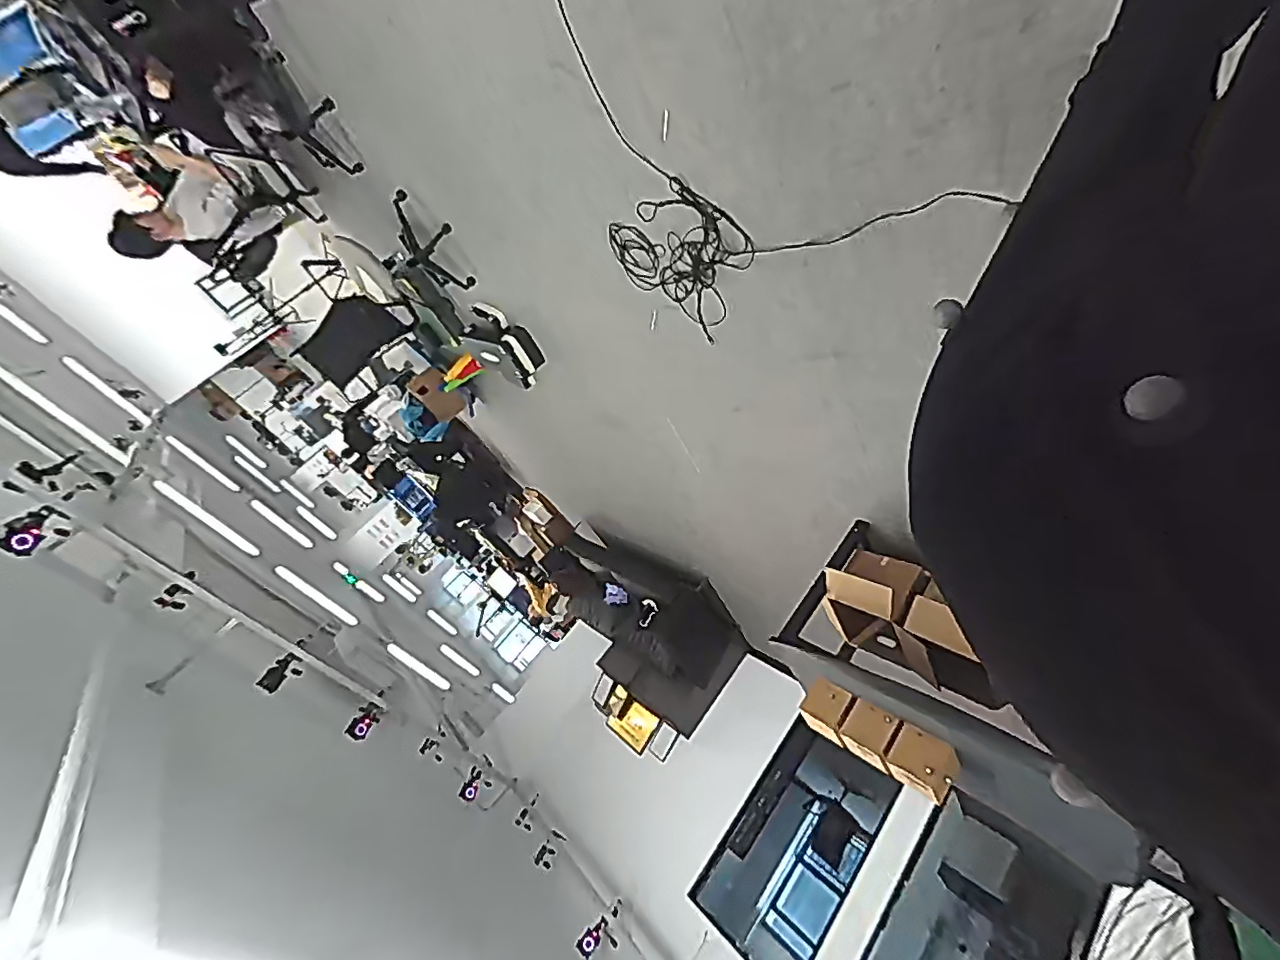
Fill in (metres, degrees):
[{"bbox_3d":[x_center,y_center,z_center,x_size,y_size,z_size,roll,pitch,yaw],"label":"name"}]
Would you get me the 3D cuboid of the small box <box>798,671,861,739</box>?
[{"bbox_3d":[0.798,0.938,2.260,0.168,0.176,0.179,18,149,48],"label":"small box"}]
